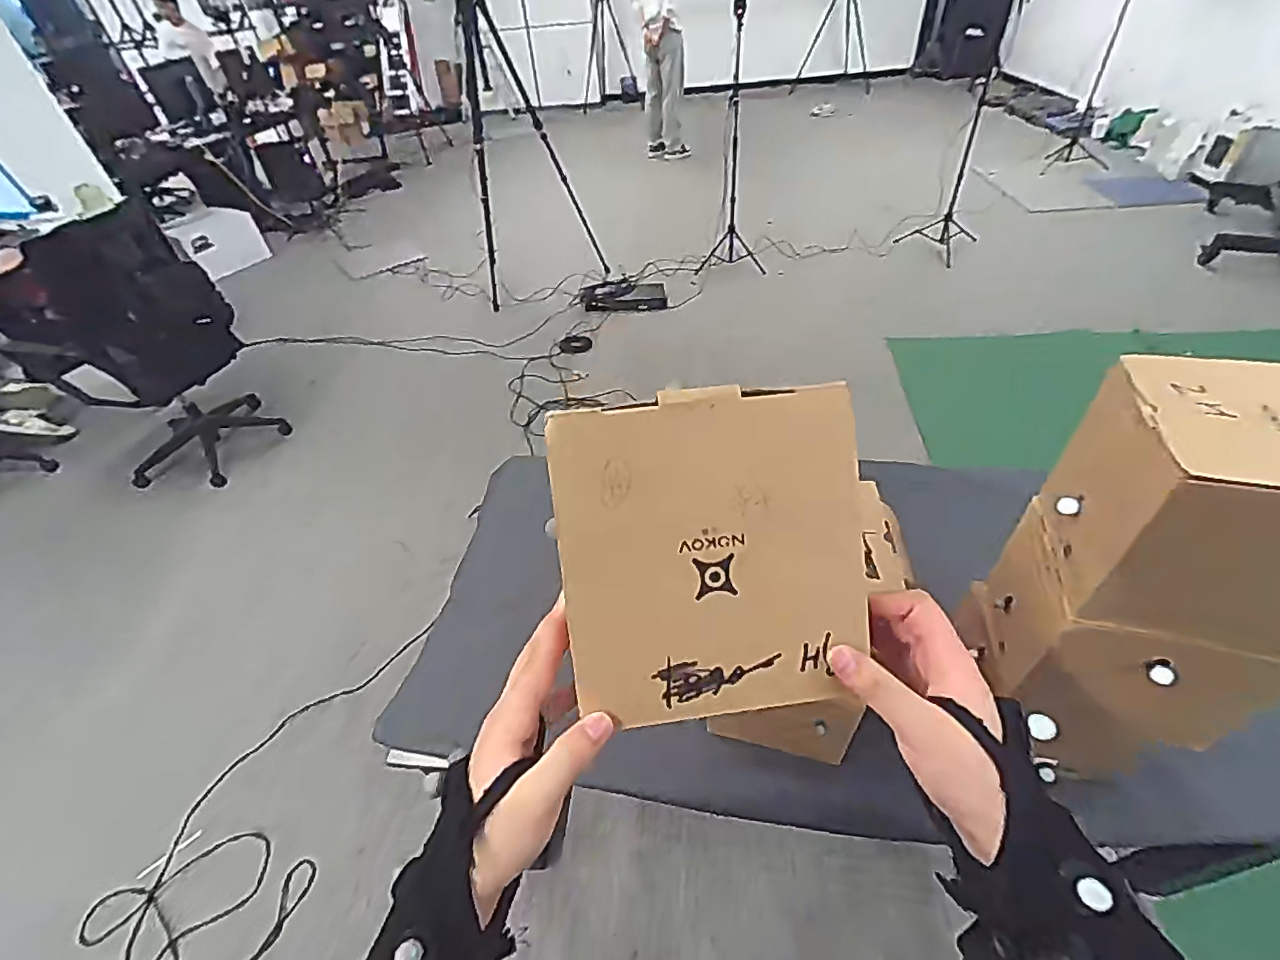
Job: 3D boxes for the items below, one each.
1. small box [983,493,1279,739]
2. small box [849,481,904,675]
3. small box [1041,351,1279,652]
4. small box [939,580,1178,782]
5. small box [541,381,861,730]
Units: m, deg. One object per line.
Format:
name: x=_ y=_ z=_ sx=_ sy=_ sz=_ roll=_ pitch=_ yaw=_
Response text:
small box: x=0.484 y=0.139 z=0.553 sx=0.179 sy=0.176 sz=0.168 roll=8 pitch=45 yaw=17
small box: x=0.171 y=0.115 z=0.613 sx=0.179 sy=0.176 sz=0.168 roll=1 pitch=43 yaw=9
small box: x=0.472 y=0.017 z=0.442 sx=0.179 sy=0.176 sz=0.168 roll=10 pitch=45 yaw=18
small box: x=0.500 y=0.247 z=0.674 sx=0.168 sy=0.176 sz=0.179 roll=1 pitch=44 yaw=9
small box: x=0.028 y=0.035 z=0.369 sx=0.168 sy=0.179 sz=0.176 roll=-6 pitch=5 yaw=-4
